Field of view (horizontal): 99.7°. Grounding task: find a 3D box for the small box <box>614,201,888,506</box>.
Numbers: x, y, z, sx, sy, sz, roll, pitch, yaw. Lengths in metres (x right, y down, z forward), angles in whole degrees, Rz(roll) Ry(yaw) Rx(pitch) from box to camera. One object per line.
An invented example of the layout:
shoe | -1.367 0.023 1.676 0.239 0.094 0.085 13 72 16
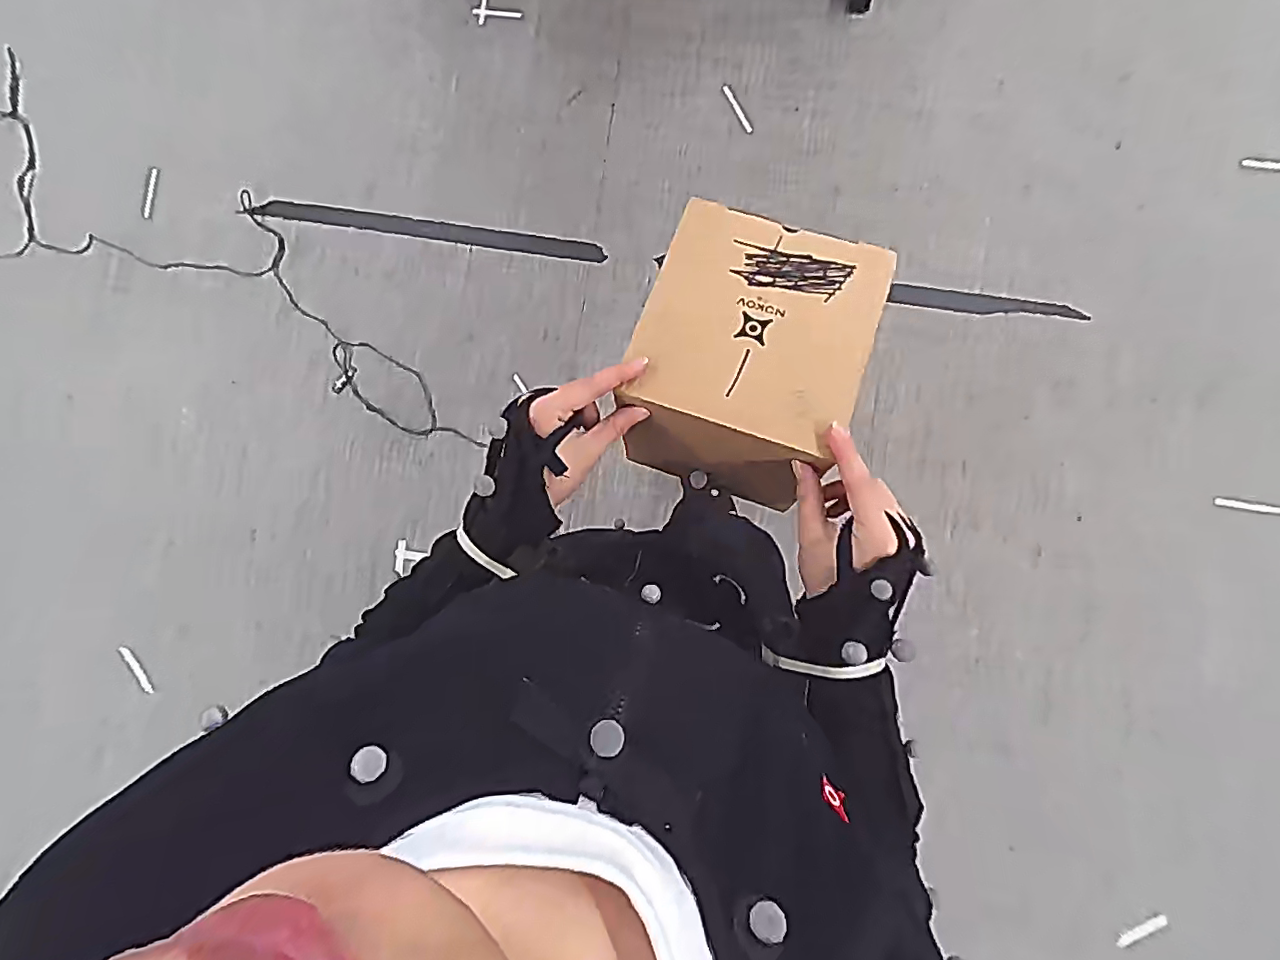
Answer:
small box | 0.087 -0.097 0.475 0.168 0.176 0.179 19 76 8
